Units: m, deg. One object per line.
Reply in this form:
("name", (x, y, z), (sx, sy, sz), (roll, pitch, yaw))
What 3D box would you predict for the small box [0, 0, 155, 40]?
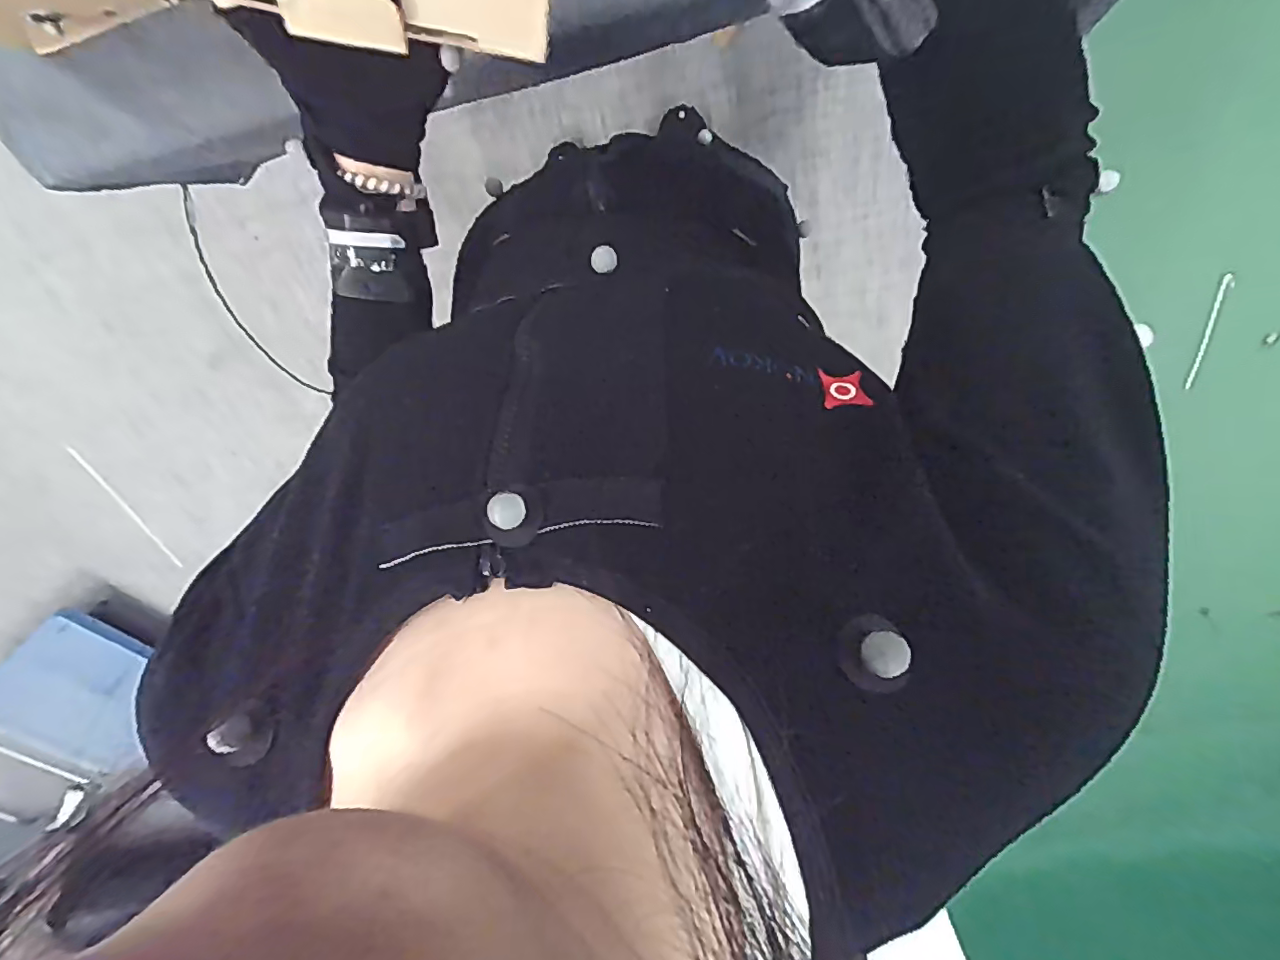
("small box", (-0.526, -0.465, 0.397), (0.168, 0.176, 0.179), (-13, 122, 7))
